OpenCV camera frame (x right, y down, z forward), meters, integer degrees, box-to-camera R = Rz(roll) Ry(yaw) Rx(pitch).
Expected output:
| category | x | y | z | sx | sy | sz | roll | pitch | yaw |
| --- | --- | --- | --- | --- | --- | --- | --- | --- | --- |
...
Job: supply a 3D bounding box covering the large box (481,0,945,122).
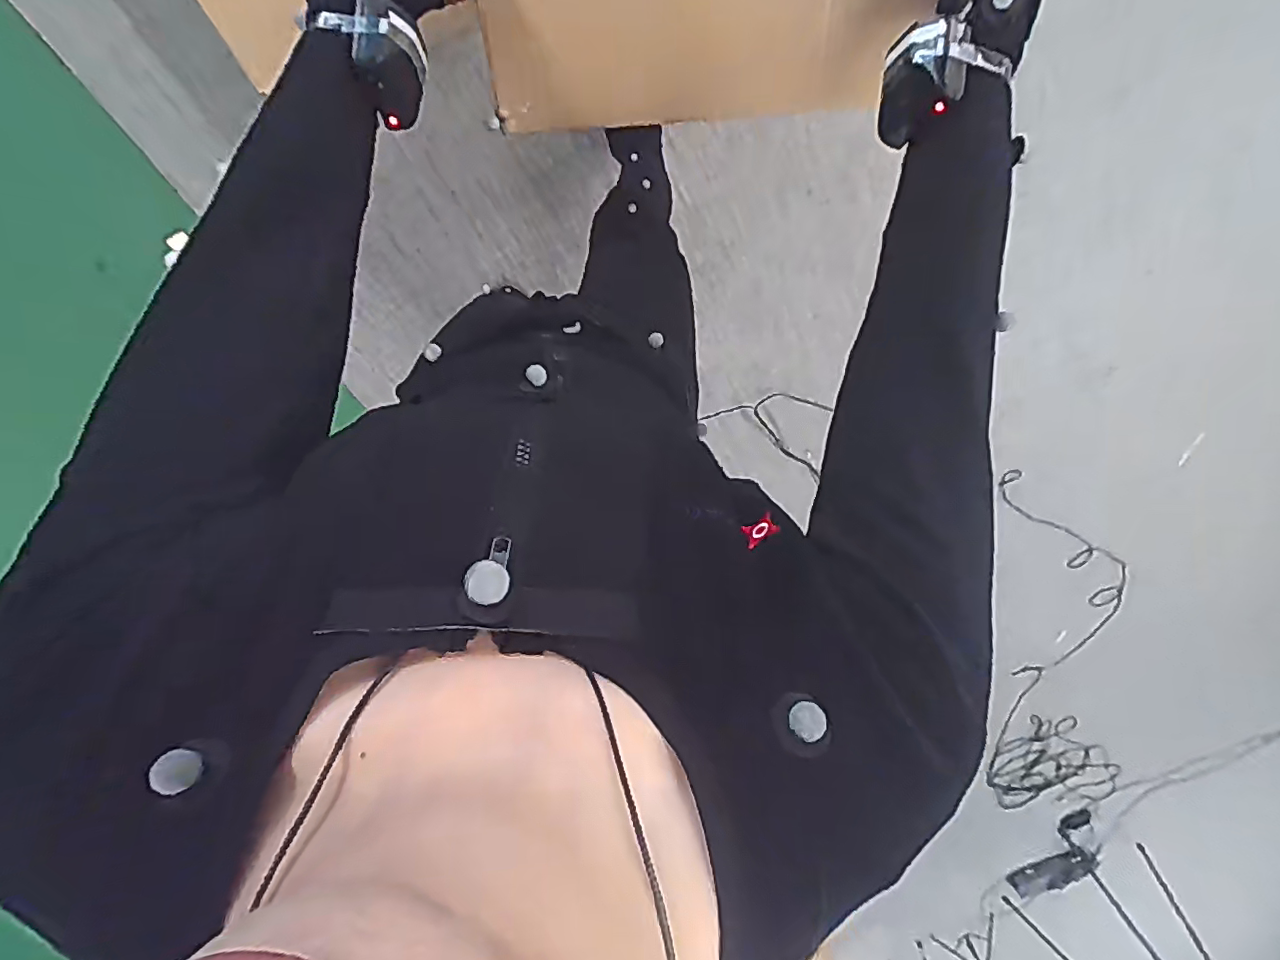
| category | x | y | z | sx | sy | sz | roll | pitch | yaw |
| --- | --- | --- | --- | --- | --- | --- | --- | --- | --- |
| large box | 0.065 | -0.569 | 0.528 | 0.408 | 0.320 | 0.320 | 0 | 128 | 7 |
